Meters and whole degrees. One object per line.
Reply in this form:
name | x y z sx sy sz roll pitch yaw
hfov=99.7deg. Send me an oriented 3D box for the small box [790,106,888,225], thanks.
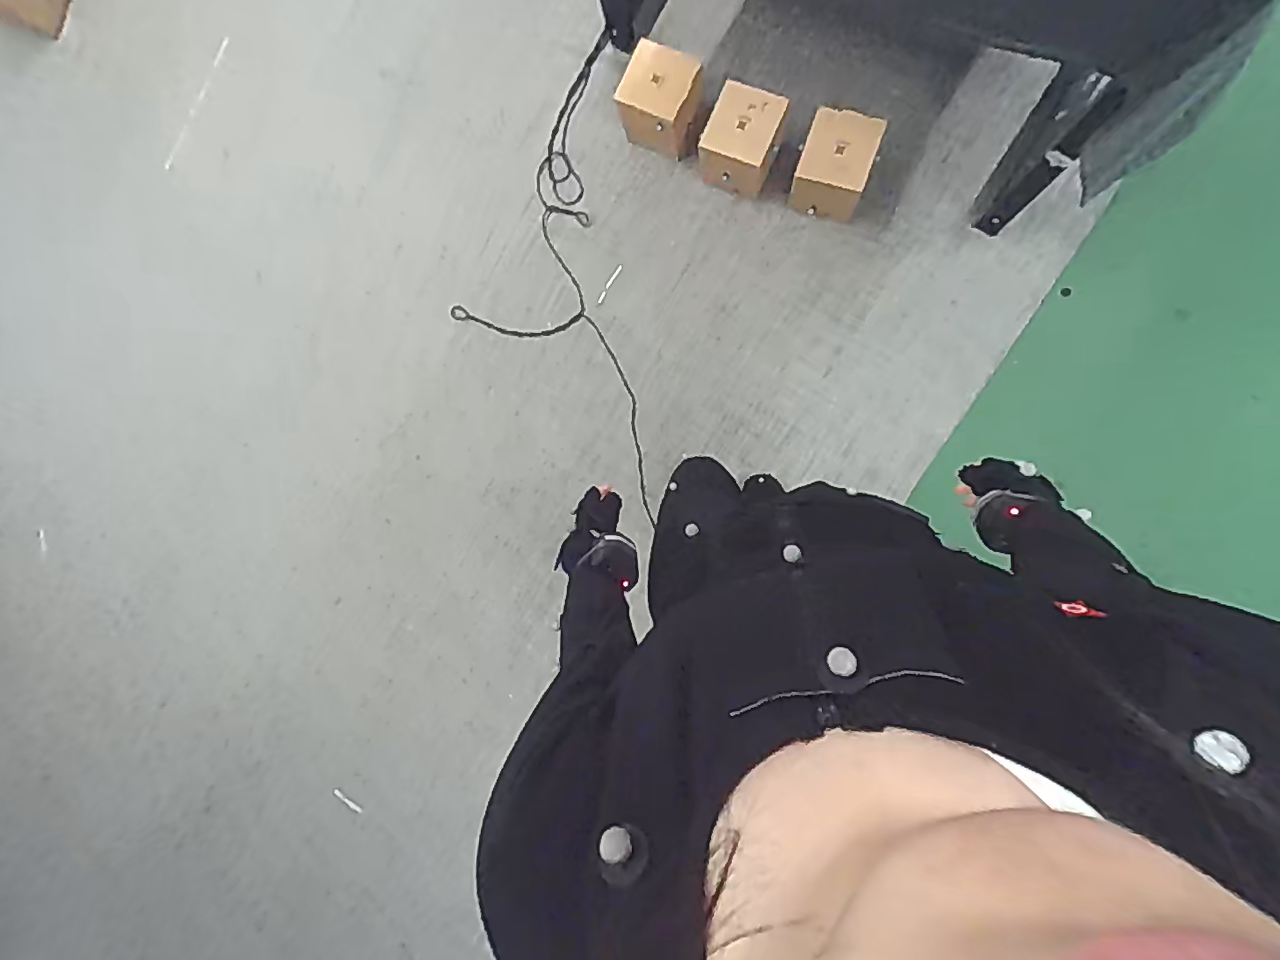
small box | 0.486 -0.777 1.349 0.168 0.176 0.179 20 93 9
